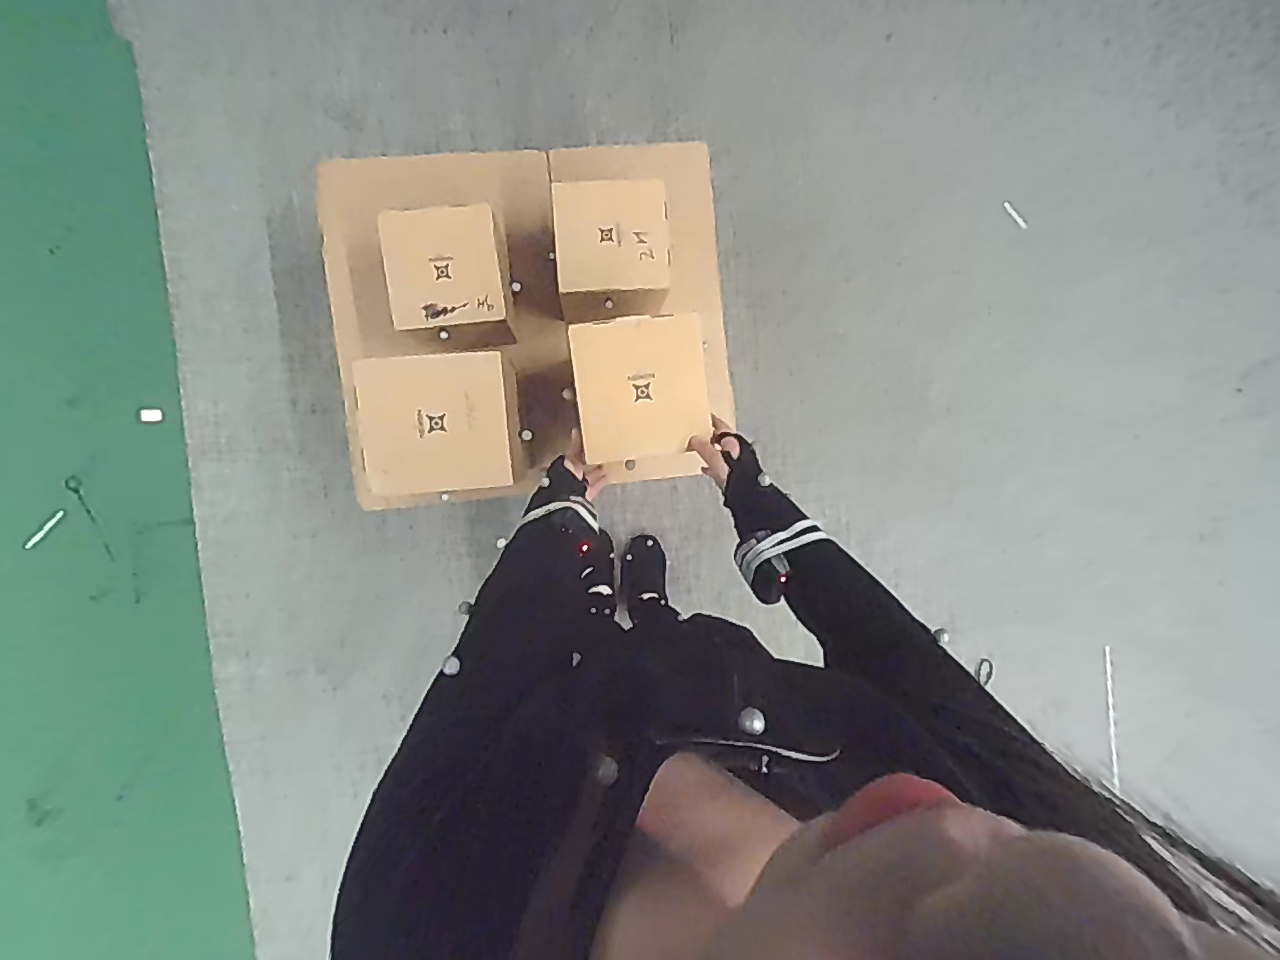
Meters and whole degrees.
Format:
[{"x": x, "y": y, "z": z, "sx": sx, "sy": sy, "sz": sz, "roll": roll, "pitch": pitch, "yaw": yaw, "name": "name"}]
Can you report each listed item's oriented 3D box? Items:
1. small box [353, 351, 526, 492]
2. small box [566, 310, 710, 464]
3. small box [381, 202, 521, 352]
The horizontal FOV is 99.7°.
[{"x": -0.256, "y": -0.074, "z": 0.728, "sx": 0.179, "sy": 0.176, "sz": 0.168, "roll": -4, "pitch": 94, "yaw": -6, "name": "small box"}, {"x": -0.005, "y": -0.120, "z": 0.749, "sx": 0.168, "sy": 0.176, "sz": 0.179, "roll": -8, "pitch": 93, "yaw": -4, "name": "small box"}, {"x": -0.295, "y": -0.319, "z": 0.876, "sx": 0.168, "sy": 0.176, "sz": 0.179, "roll": -7, "pitch": 92, "yaw": -4, "name": "small box"}]
